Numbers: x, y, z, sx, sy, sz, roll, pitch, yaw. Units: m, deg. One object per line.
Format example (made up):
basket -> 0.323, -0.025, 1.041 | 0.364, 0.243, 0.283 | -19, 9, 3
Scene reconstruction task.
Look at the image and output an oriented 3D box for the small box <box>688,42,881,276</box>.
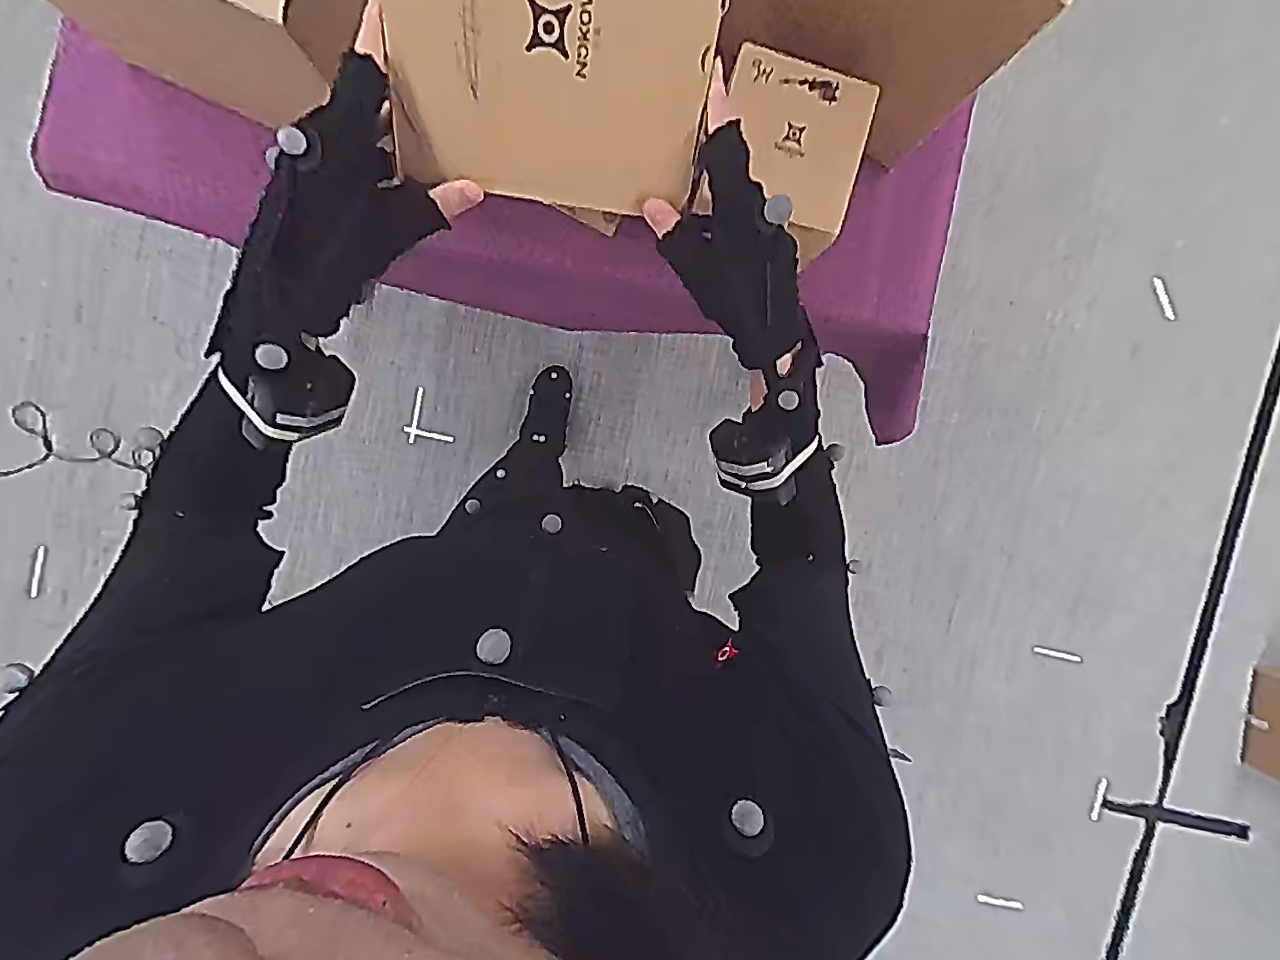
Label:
small box -> 0.164, -0.380, 0.678 | 0.168, 0.176, 0.179 | 14, 93, -6
